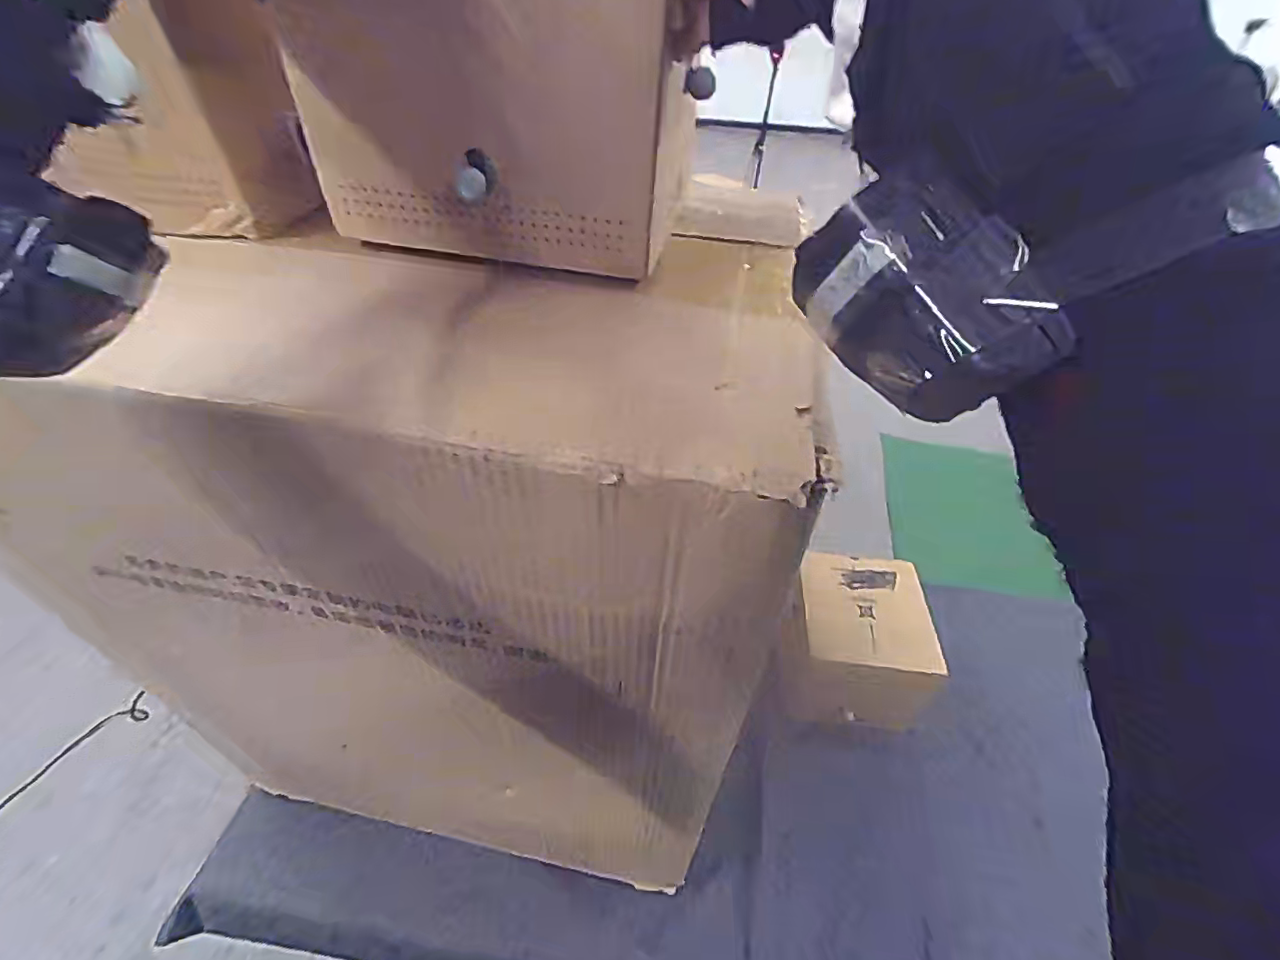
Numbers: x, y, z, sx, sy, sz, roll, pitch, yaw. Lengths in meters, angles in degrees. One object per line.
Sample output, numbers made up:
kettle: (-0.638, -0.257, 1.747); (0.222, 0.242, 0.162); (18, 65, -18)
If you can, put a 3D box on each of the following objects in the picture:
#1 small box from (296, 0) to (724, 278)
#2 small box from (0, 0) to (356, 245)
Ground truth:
small box: (-0.051, -0.228, 0.296); (0.179, 0.176, 0.168); (11, 43, 5)
small box: (-0.274, -0.255, 0.318); (0.179, 0.176, 0.168); (7, 47, 4)
